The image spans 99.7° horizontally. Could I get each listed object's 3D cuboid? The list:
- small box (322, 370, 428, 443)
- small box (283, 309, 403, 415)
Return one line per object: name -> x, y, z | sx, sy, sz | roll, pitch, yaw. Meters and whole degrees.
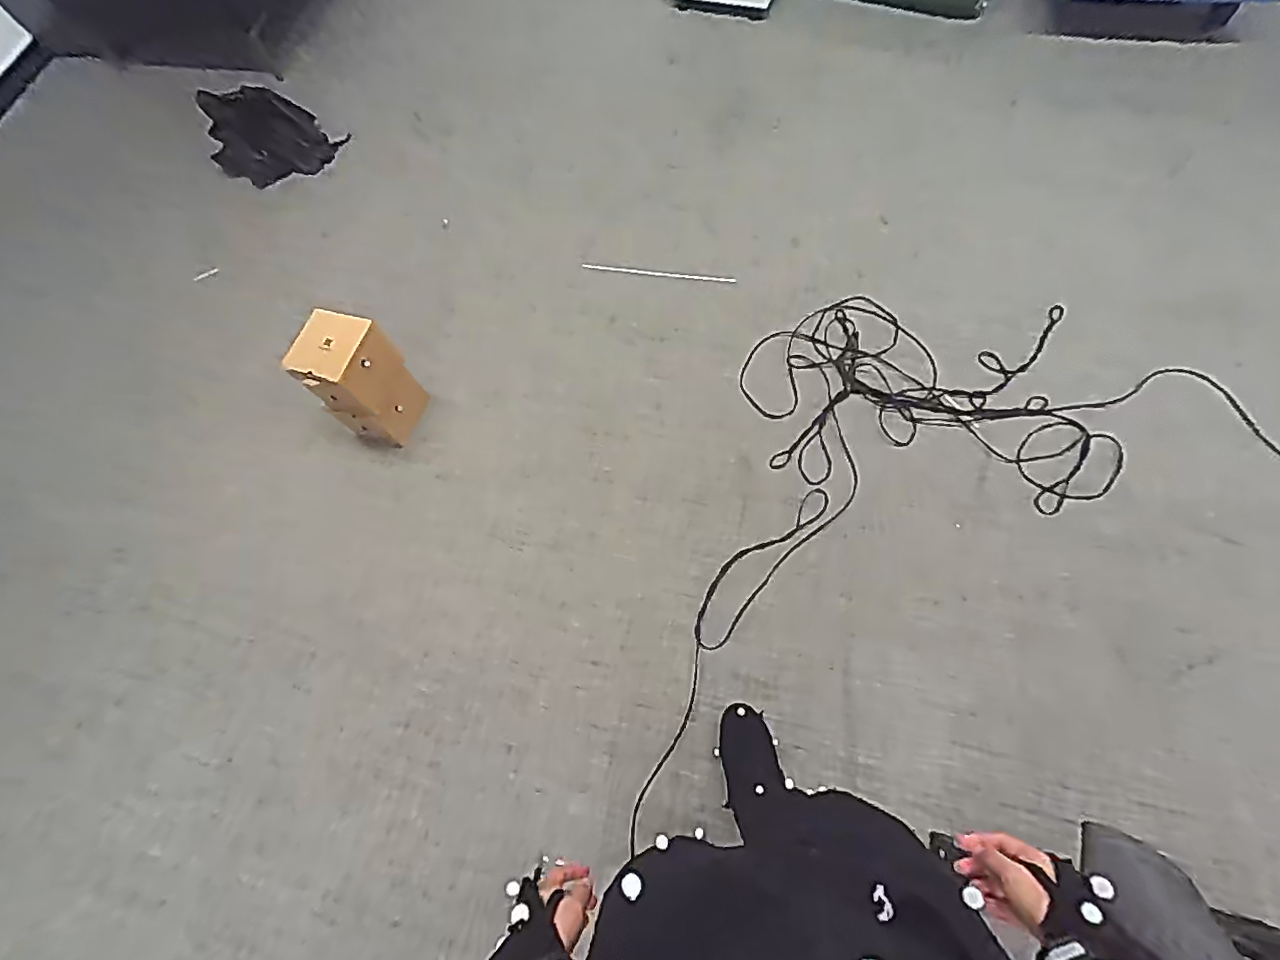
small box -> -0.719, -0.220, 1.490 | 0.168, 0.176, 0.179 | 14, 72, 12
small box -> -0.722, -0.289, 1.341 | 0.168, 0.176, 0.179 | 15, 71, 12
